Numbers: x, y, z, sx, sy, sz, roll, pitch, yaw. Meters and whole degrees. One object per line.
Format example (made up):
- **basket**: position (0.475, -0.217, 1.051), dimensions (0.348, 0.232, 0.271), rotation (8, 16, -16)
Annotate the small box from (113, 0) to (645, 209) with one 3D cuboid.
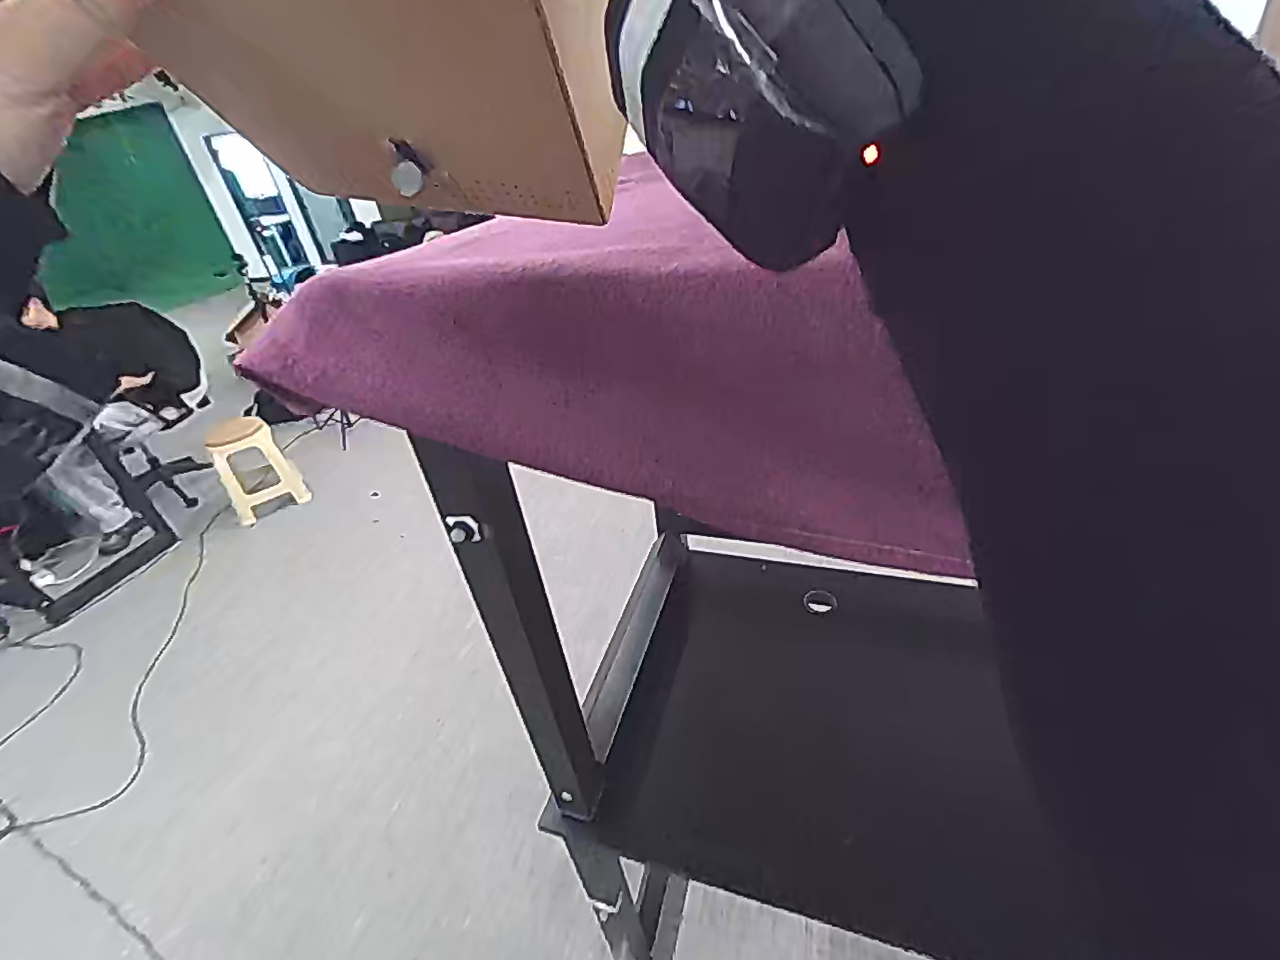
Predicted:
- **small box**: position (-0.094, -0.237, 0.216), dimensions (0.179, 0.168, 0.176), rotation (10, -6, 8)
